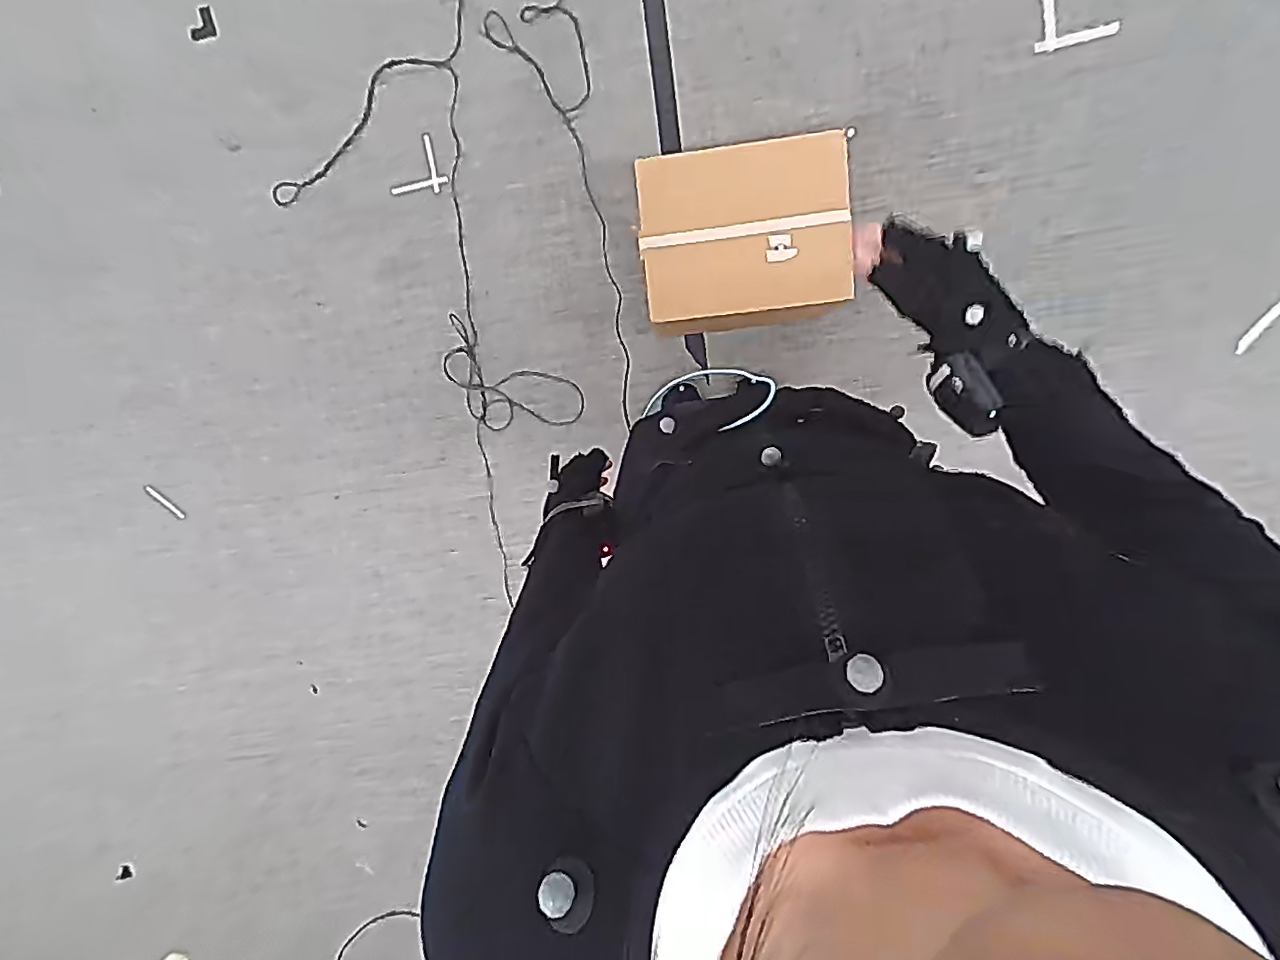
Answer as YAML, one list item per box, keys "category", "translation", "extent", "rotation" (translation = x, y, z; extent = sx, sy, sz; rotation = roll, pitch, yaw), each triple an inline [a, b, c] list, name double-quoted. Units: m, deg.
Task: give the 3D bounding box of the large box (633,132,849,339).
- category: "large box"
  translation: [0.210, -0.512, 1.212]
  extent: [0.408, 0.320, 0.320]
  rotation: [-6, 99, 5]
